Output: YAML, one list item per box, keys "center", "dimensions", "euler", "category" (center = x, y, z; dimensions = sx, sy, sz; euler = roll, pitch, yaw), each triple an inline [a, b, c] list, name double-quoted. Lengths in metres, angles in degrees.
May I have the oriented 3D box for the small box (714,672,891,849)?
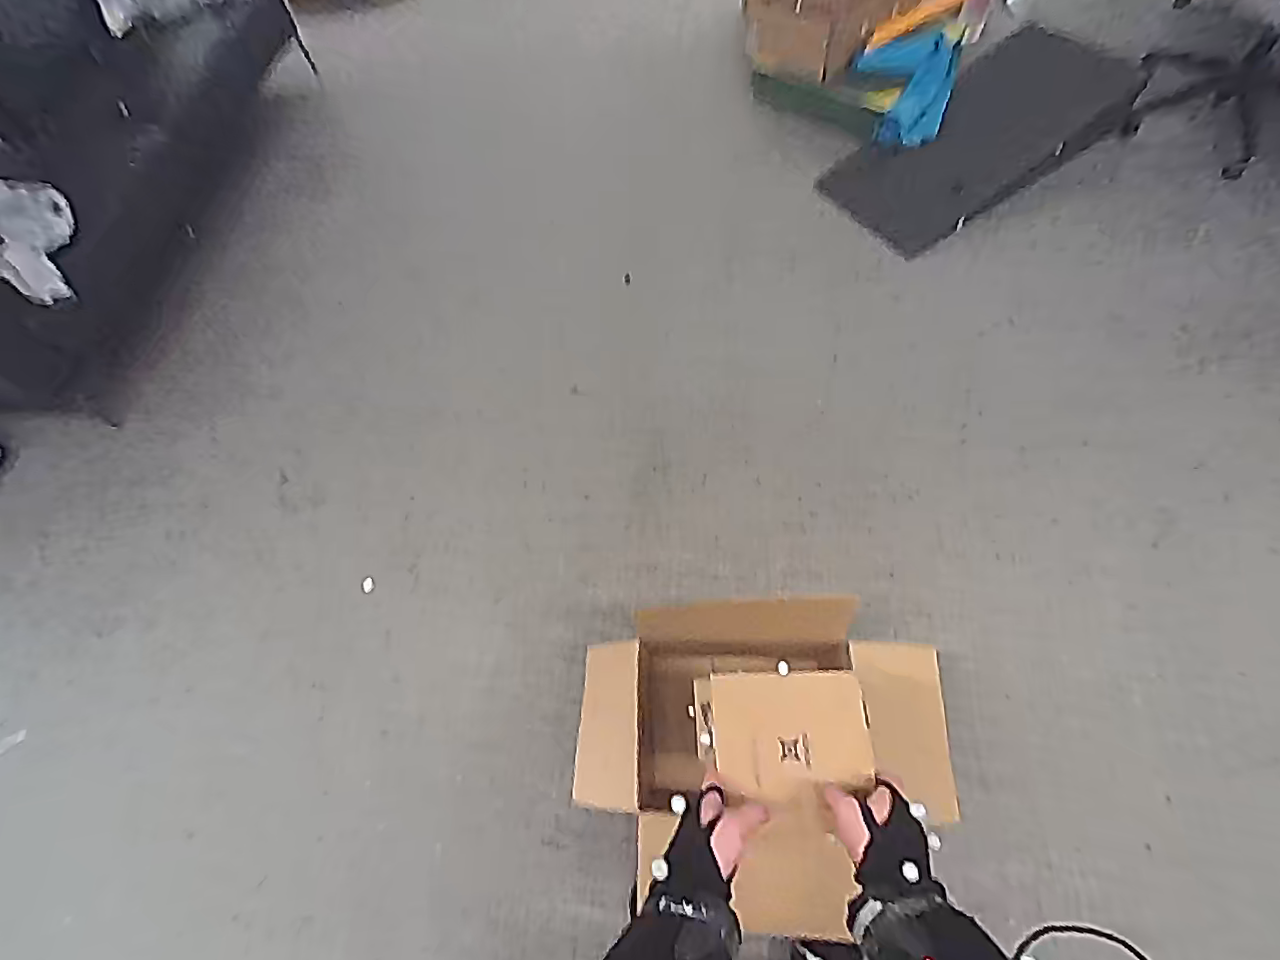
- center: [0.180, 0.334, 0.659]
  dimensions: [0.179, 0.176, 0.168]
  euler: [-1, 62, 8]
  category: "small box"
